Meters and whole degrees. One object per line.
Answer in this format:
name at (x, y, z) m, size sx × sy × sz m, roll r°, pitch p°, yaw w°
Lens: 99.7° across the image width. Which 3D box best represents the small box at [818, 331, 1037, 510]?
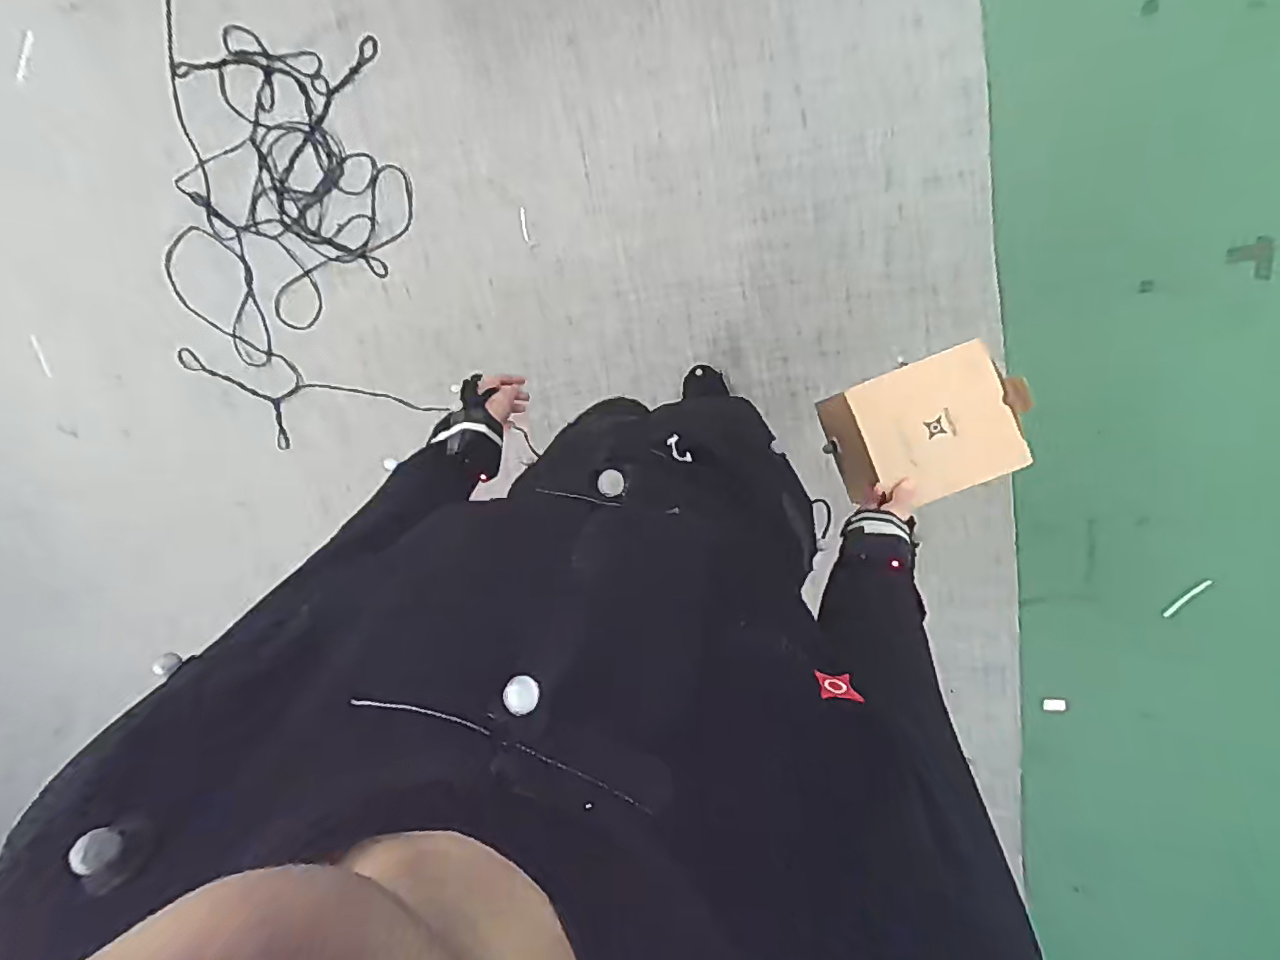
small box at (0.362, -0.074, 0.716) m, size 0.179 × 0.176 × 0.168 m, roll -22°, pitch 90°, yaw 6°
